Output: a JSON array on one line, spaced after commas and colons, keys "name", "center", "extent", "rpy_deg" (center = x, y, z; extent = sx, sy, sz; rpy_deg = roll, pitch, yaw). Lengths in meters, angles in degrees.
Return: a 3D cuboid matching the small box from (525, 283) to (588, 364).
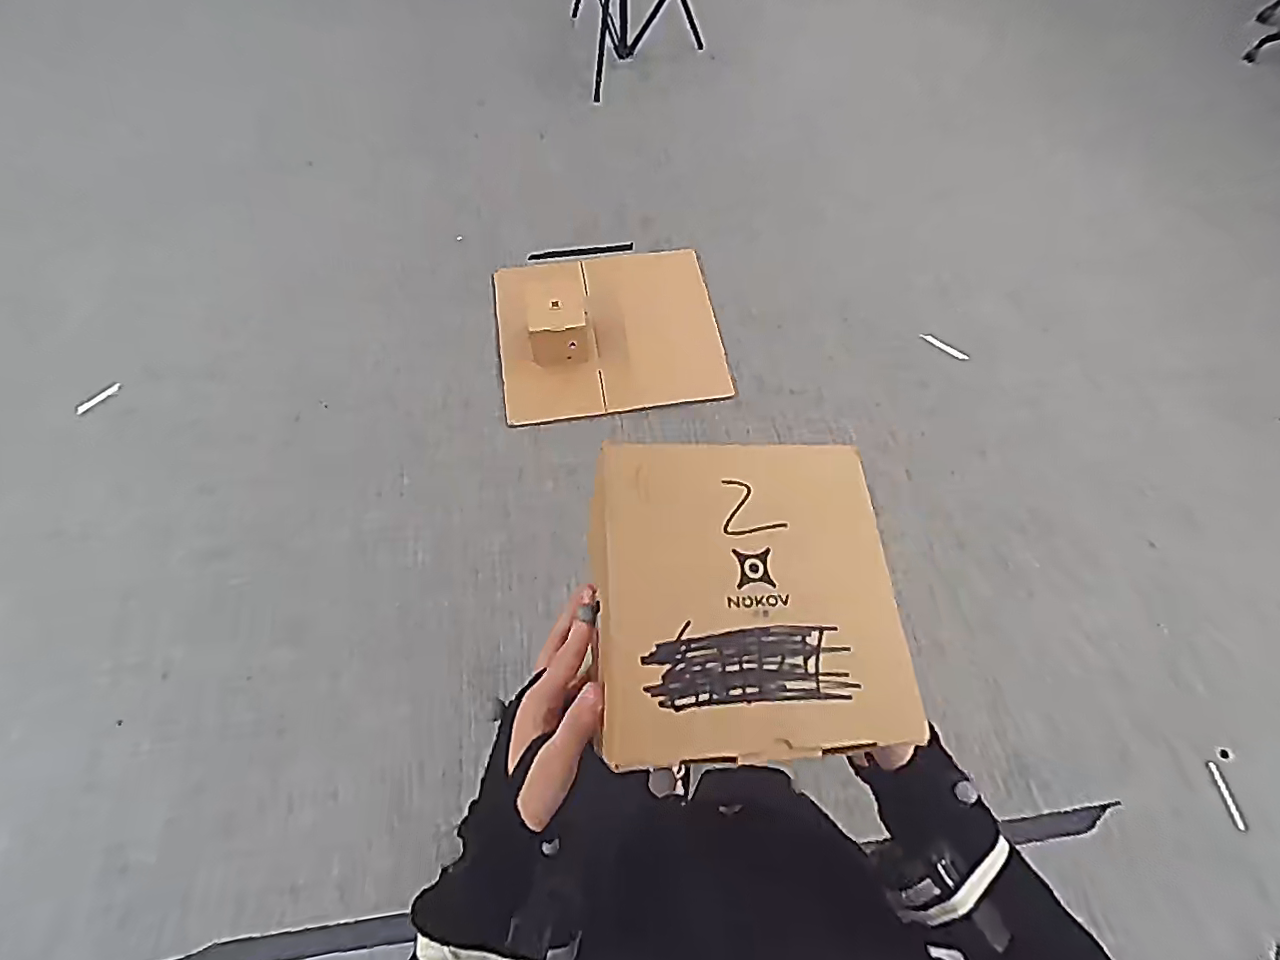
[{"name": "small box", "center": [-0.250, -0.468, 1.642], "extent": [0.168, 0.176, 0.179], "rpy_deg": [-7, 66, -6]}]
